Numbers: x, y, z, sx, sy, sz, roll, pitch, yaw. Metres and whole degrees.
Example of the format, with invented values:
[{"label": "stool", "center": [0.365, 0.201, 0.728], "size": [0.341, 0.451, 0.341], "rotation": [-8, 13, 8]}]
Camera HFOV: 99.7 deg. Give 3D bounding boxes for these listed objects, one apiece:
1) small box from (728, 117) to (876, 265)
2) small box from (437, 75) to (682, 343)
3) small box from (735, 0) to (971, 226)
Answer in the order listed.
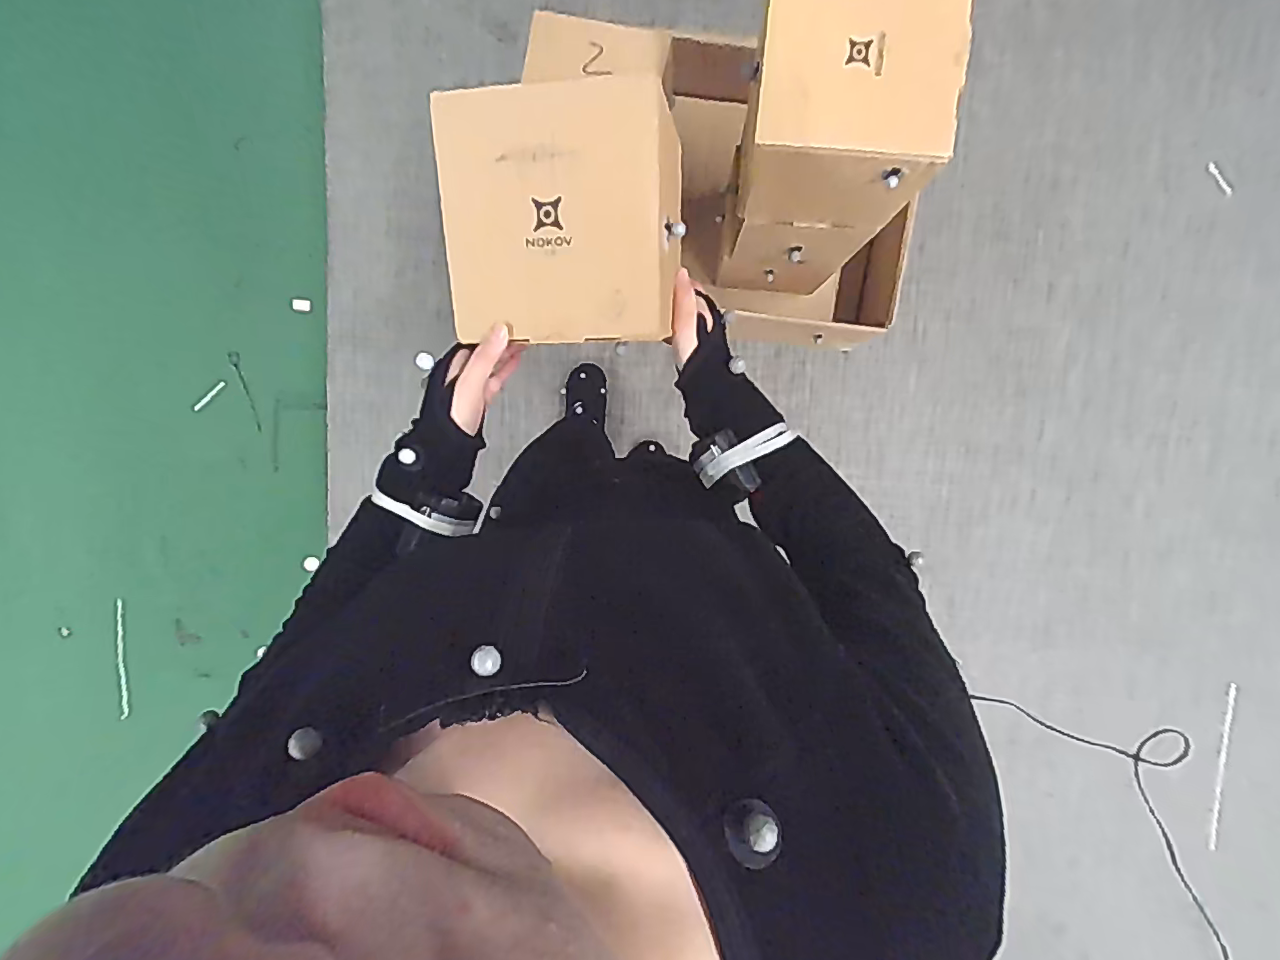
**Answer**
[{"label": "small box", "center": [0.213, -0.396, 0.716], "size": [0.168, 0.176, 0.179], "rotation": [5, 97, 2]}, {"label": "small box", "center": [-0.052, -0.216, 0.474], "size": [0.168, 0.176, 0.179], "rotation": [3, 107, 8]}, {"label": "small box", "center": [0.199, -0.377, 0.554], "size": [0.179, 0.176, 0.168], "rotation": [6, 96, 2]}]
